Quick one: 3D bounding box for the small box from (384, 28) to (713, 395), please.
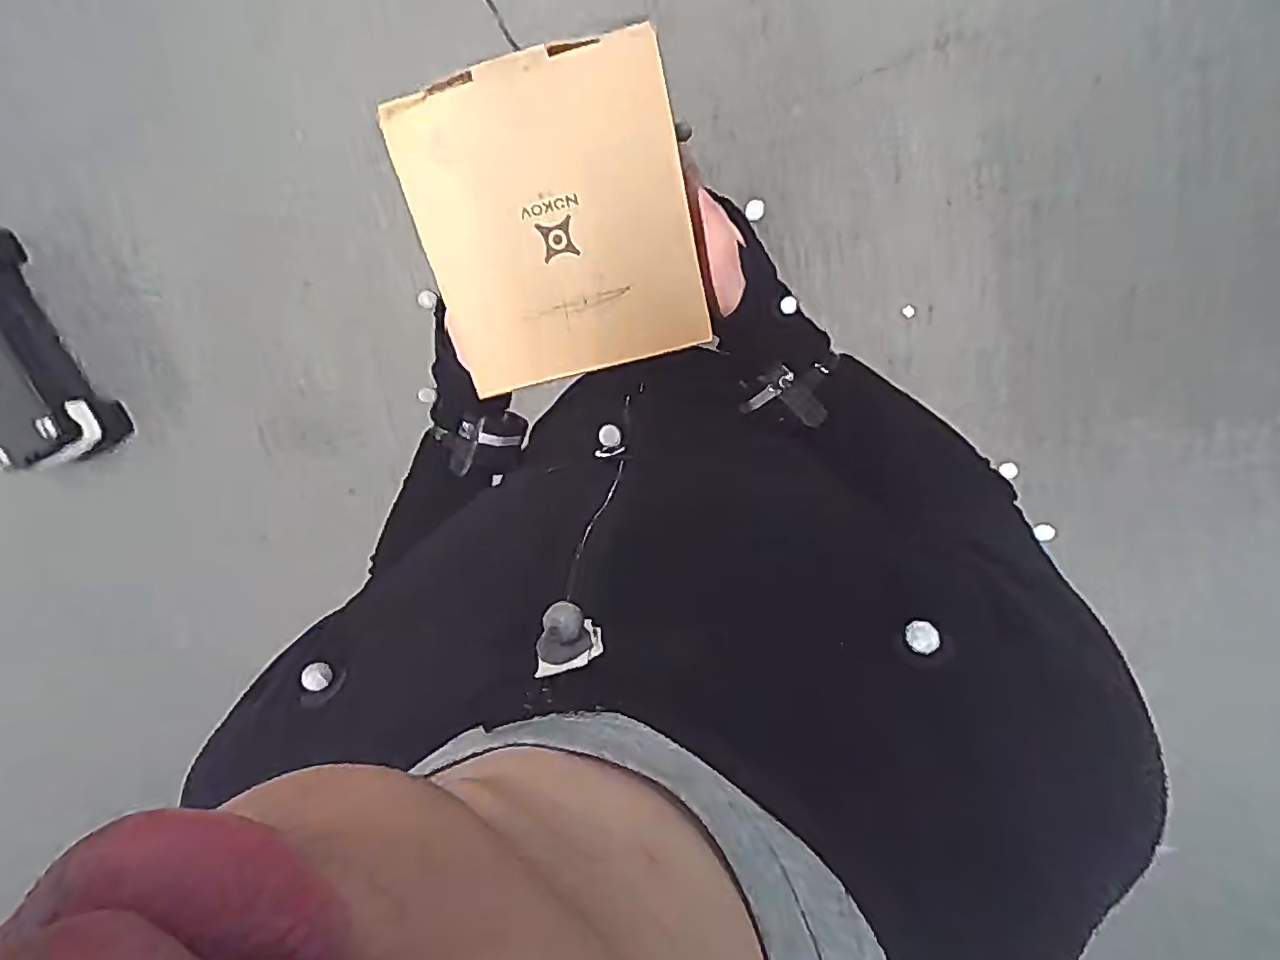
[{"bbox_3d":[-0.047,-0.181,0.401,0.168,0.176,0.179,-11,114,7],"label":"small box"}]
